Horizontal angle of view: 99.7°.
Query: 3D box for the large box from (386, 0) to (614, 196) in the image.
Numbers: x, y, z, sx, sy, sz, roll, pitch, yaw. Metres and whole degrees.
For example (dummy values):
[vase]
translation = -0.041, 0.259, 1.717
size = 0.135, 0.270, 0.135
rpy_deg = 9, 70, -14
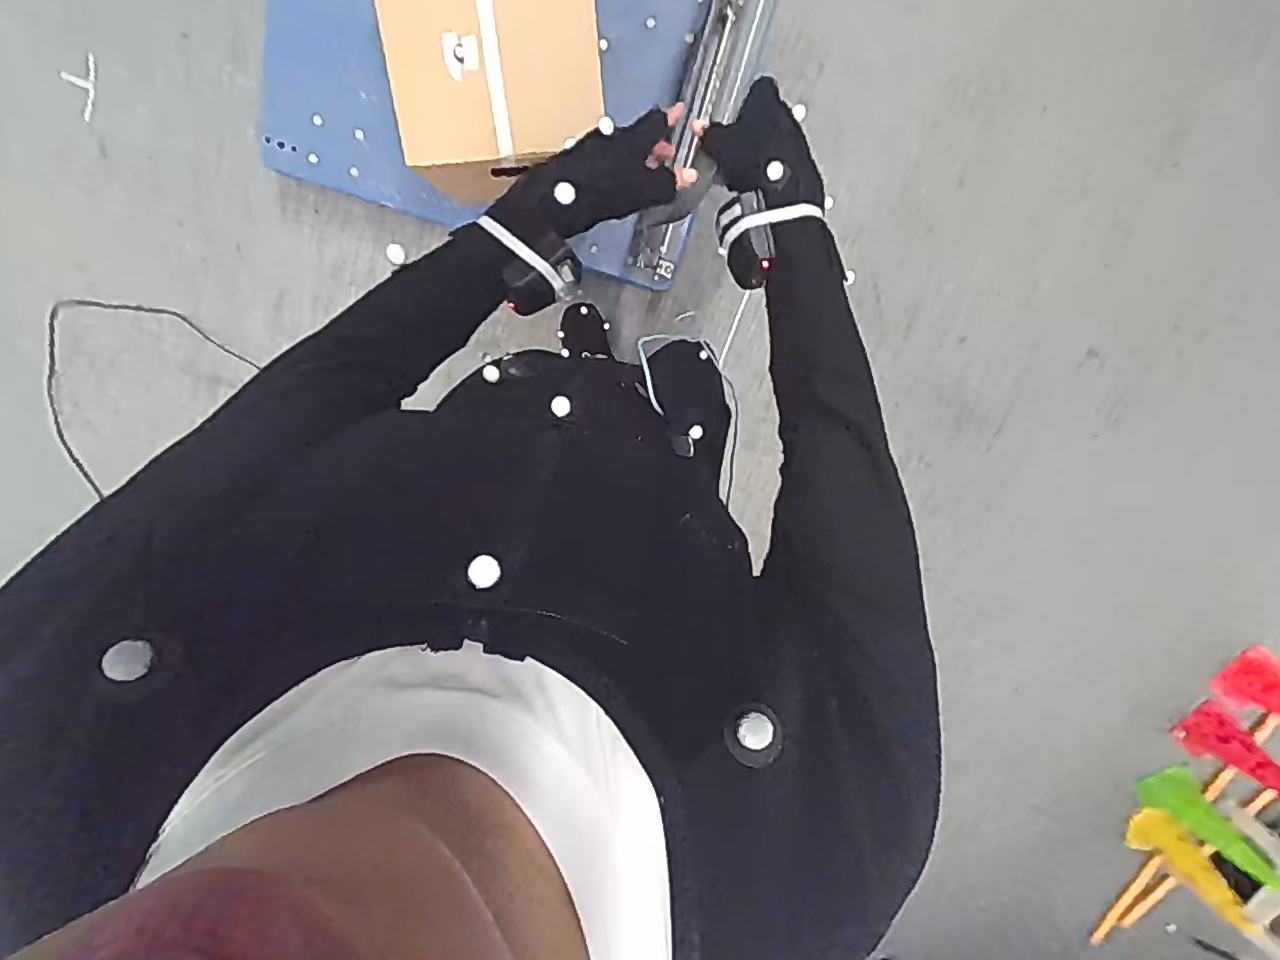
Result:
[large box]
translation = -0.221, -0.742, 0.920
size = 0.320, 0.320, 0.408
rpy_deg = -5, 109, -1
